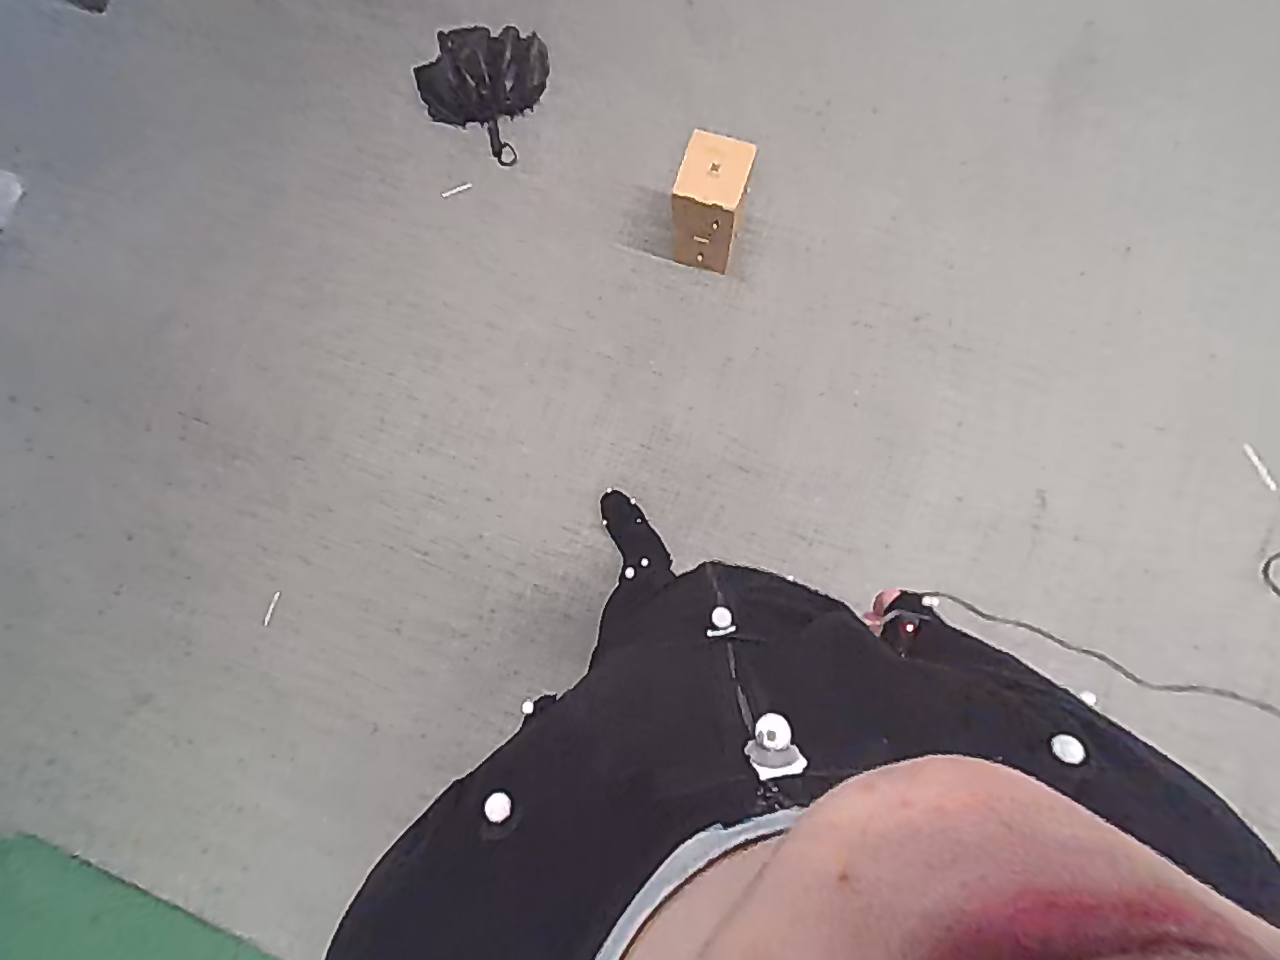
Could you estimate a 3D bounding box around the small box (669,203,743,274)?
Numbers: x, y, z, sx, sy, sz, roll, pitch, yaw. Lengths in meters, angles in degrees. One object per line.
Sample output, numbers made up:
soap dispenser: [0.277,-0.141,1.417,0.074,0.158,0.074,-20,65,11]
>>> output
small box: [0.190,-0.718,1.543,0.168,0.176,0.179,18,86,6]

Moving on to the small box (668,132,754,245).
small box: [0.178,-0.735,1.382,0.168,0.176,0.179,19,85,5]
